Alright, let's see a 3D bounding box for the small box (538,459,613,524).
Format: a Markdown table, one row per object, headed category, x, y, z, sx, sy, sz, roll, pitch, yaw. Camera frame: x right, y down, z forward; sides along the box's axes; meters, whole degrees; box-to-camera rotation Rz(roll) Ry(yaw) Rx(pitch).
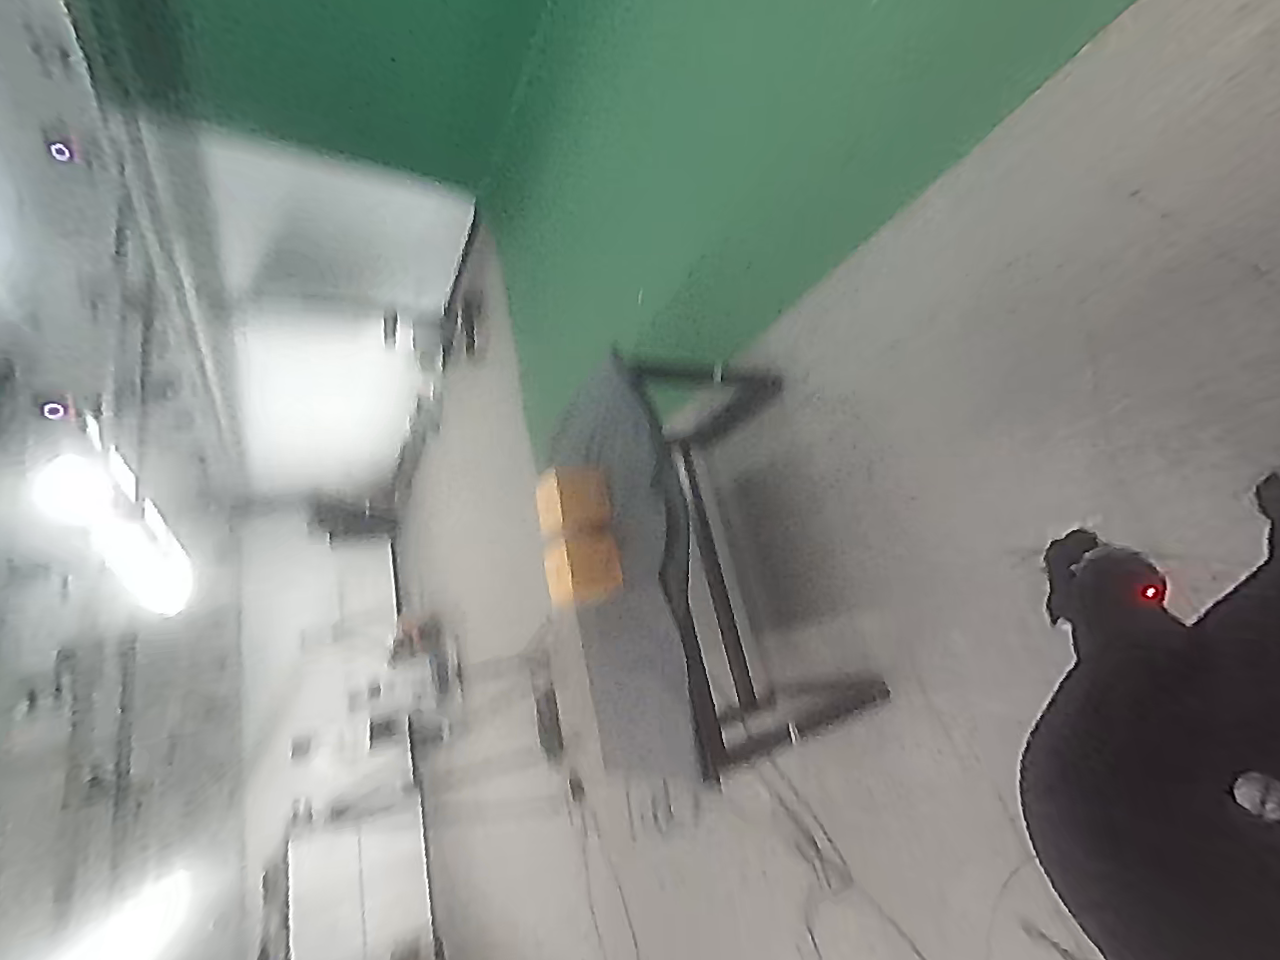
| category | x | y | z | sx | sy | sz | roll | pitch | yaw |
| --- | --- | --- | --- | --- | --- | --- | --- | --- | --- |
| small box | -0.204 | 0.036 | 1.701 | 0.179 | 0.176 | 0.168 | -31 | 67 | 54 |
